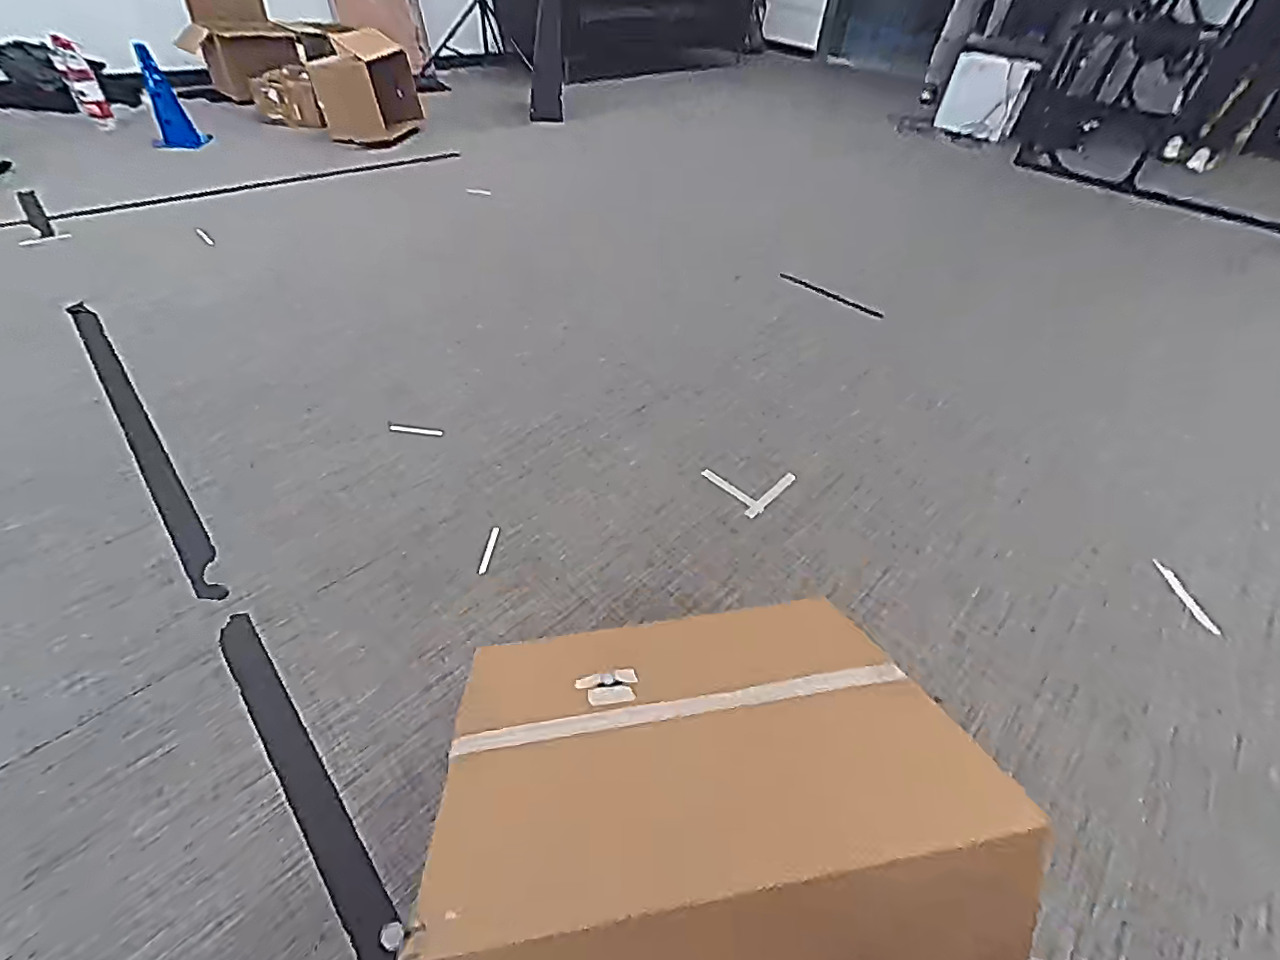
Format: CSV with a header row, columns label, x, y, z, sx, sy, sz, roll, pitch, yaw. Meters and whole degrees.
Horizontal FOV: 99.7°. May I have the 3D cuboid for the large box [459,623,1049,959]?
label,x,y,z,sx,sy,sz,roll,pitch,yaw
large box,0.076,0.377,0.523,0.408,0.320,0.320,-6,15,-7
